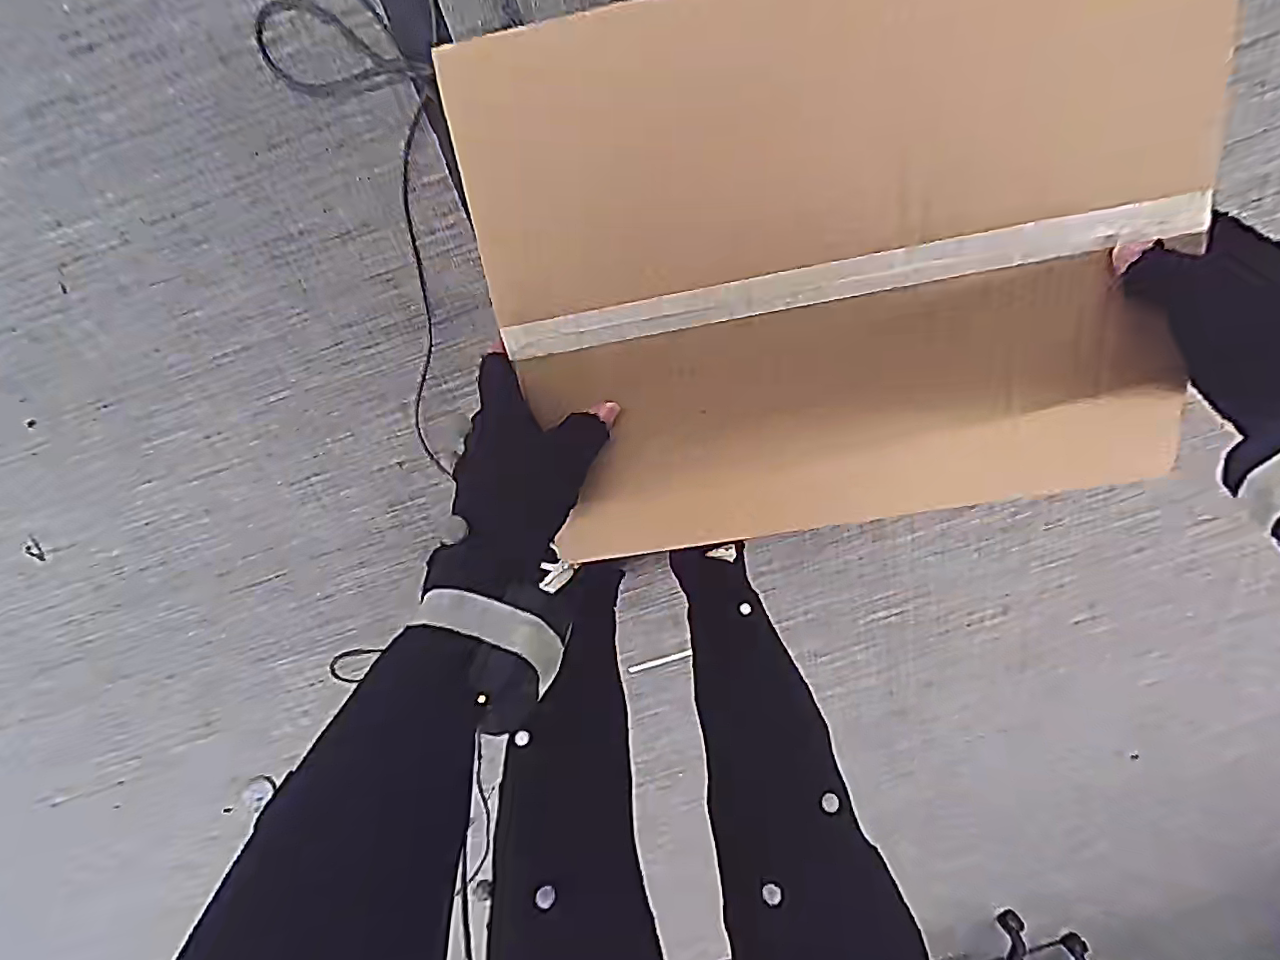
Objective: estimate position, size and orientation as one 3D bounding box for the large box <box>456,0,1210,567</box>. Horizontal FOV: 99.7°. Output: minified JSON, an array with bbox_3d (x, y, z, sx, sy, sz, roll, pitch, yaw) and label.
[{"bbox_3d":[0.122,-0.160,0.471,0.408,0.320,0.320,-10,110,5],"label":"large box"}]
